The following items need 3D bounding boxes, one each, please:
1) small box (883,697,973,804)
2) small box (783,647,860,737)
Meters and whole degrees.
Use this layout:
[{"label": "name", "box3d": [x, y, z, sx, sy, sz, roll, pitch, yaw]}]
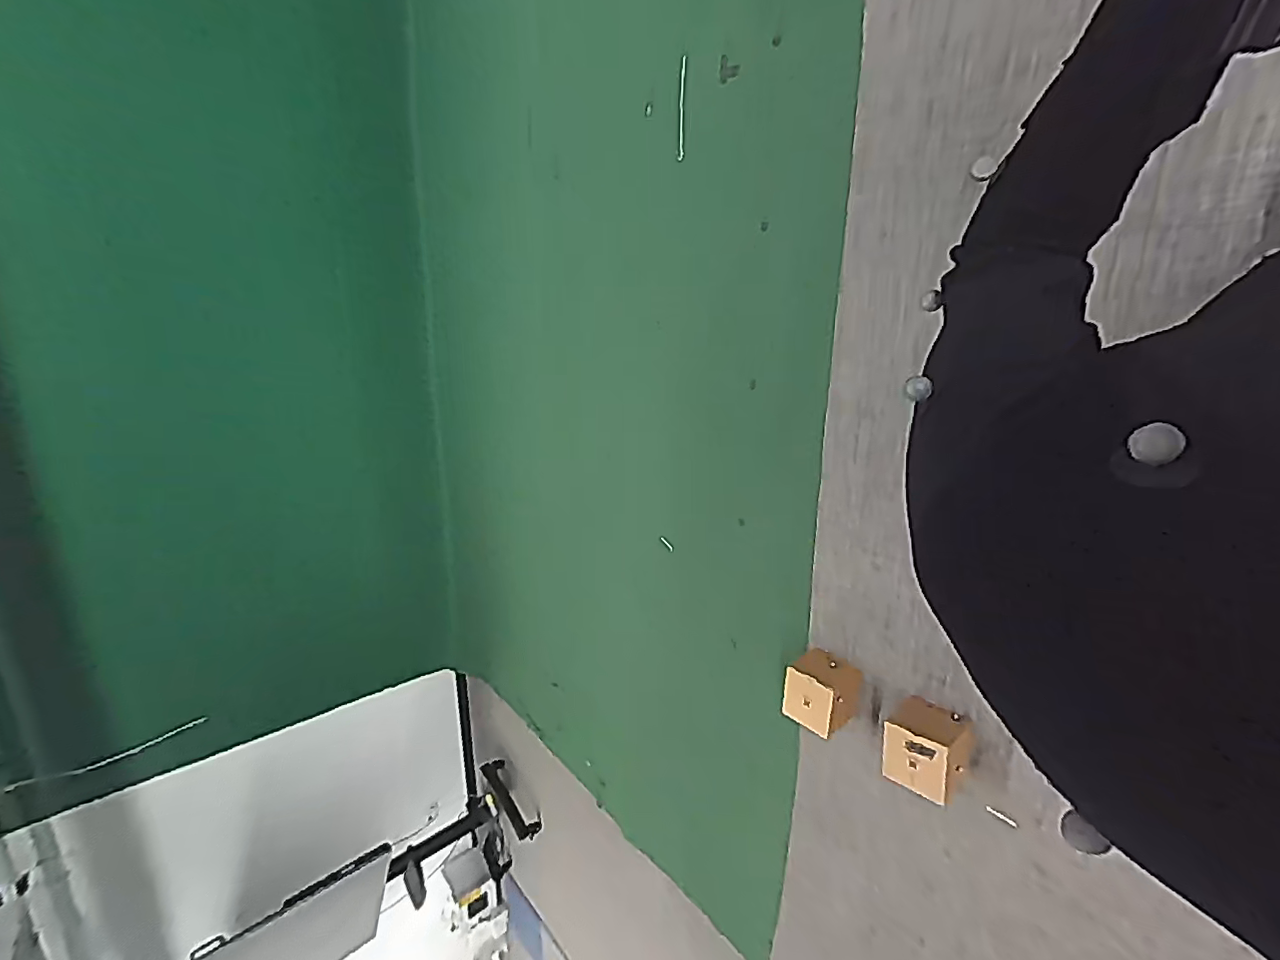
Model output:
[{"label": "small box", "box3d": [0.789, 0.727, 1.479, 0.168, 0.176, 0.179, 10, 107, 49]}, {"label": "small box", "box3d": [0.579, 0.666, 1.717, 0.168, 0.176, 0.179, 17, 111, 46]}]
